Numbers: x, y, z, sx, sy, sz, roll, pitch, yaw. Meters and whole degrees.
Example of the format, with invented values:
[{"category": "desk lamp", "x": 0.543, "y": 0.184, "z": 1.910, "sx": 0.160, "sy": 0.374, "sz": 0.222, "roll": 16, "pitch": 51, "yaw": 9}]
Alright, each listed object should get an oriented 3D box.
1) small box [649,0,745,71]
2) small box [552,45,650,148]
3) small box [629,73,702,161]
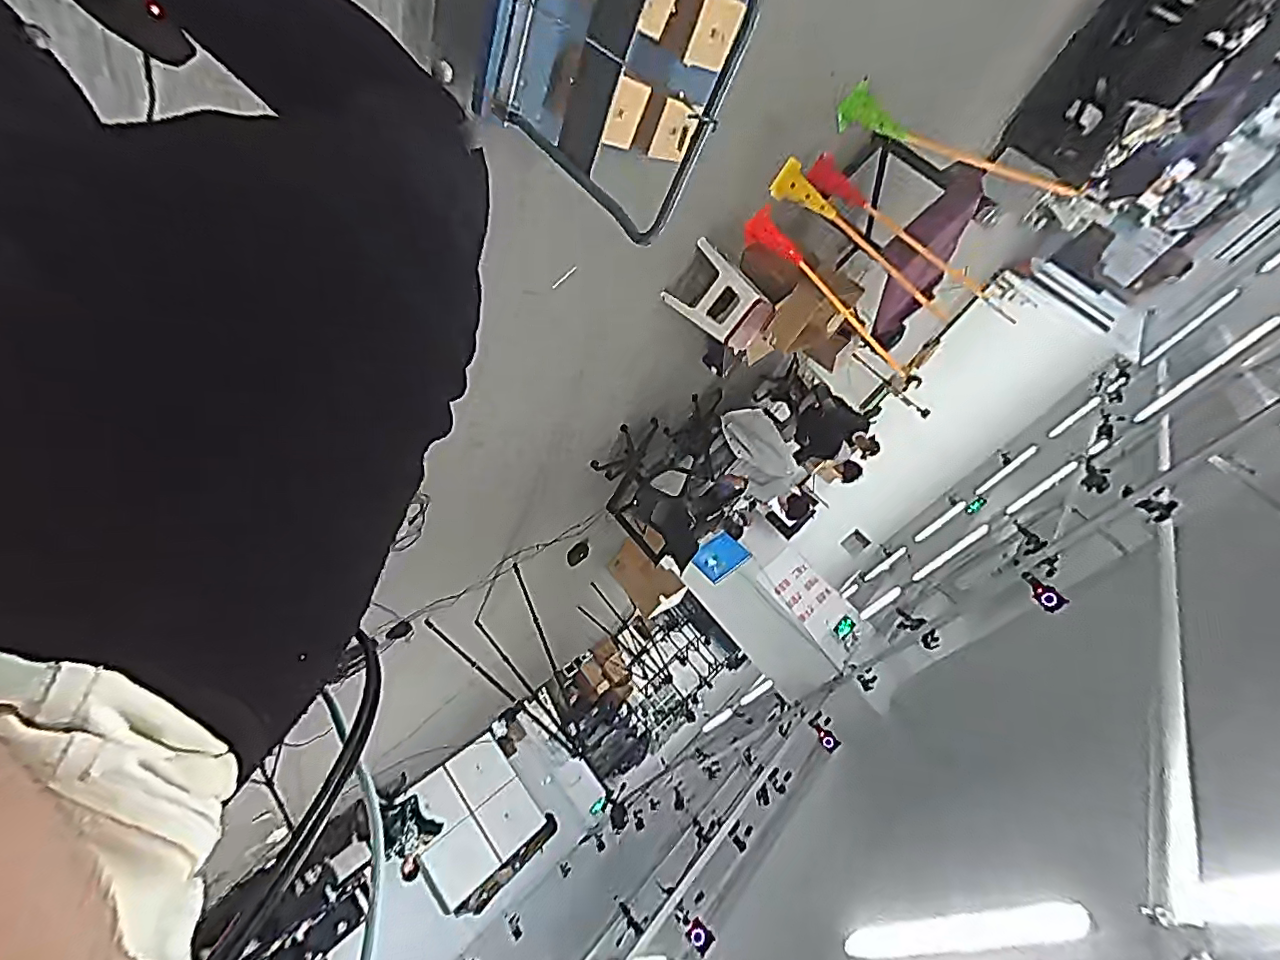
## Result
[{"category": "small box", "x": 0.153, "y": -1.297, "z": 1.520, "sx": 0.179, "sy": 0.176, "sz": 0.168, "roll": -26, "pitch": 156, "yaw": -41}, {"category": "small box", "x": -0.111, "y": -1.065, "z": 1.505, "sx": 0.179, "sy": 0.176, "sz": 0.168, "roll": -22, "pitch": 153, "yaw": -45}, {"category": "small box", "x": 0.054, "y": -1.132, "z": 1.690, "sx": 0.179, "sy": 0.176, "sz": 0.168, "roll": -24, "pitch": 154, "yaw": -43}]
